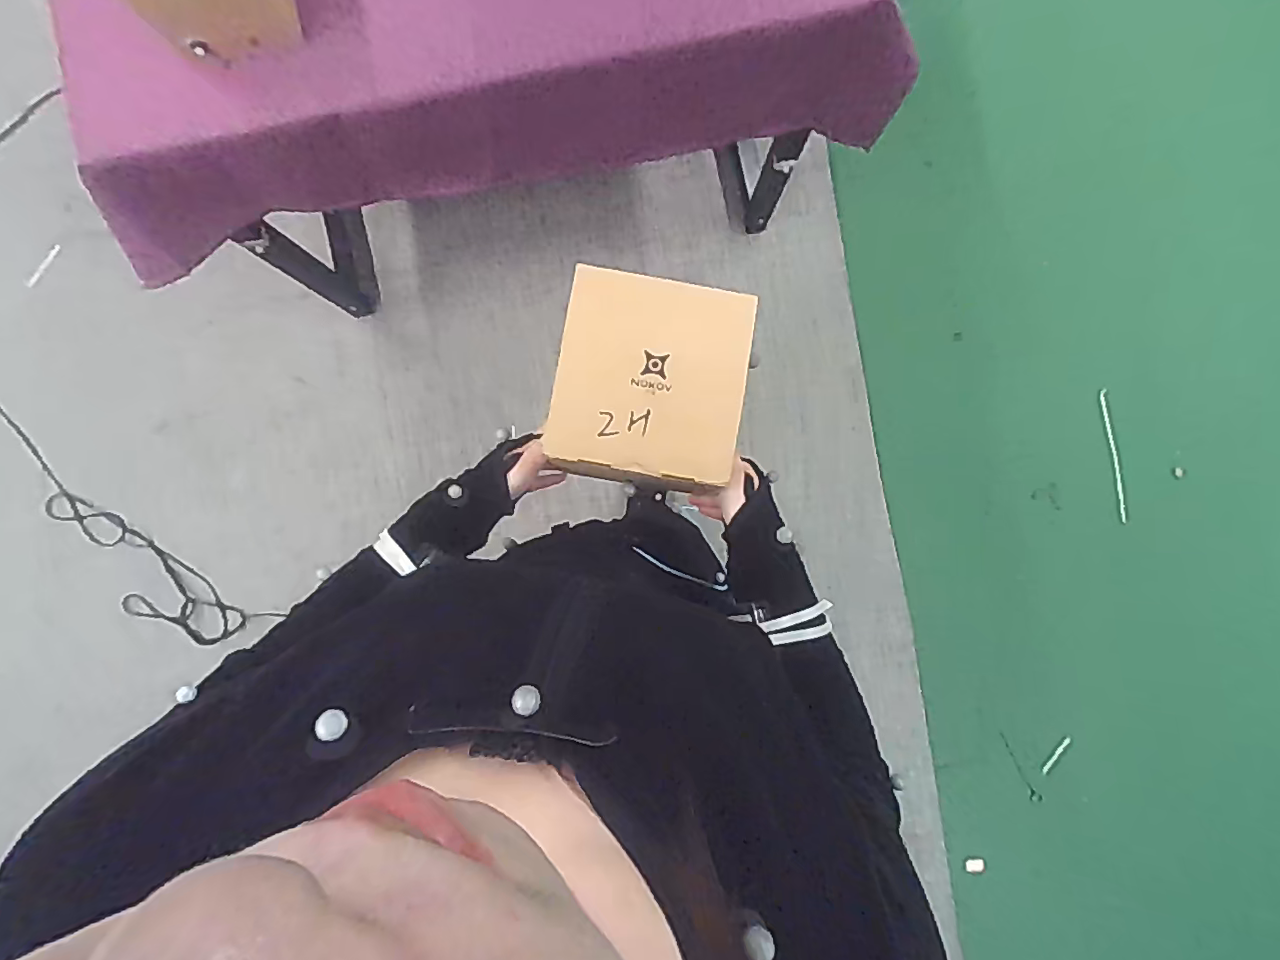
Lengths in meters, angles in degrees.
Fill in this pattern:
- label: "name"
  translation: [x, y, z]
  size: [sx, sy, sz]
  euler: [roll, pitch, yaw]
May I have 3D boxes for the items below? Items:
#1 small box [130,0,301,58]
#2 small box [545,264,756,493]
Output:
- label: "small box"
  translation: [-0.581, -0.698, 0.706]
  size: [0.168, 0.176, 0.179]
  euler: [-13, 87, -1]
- label: "small box"
  translation: [0.008, -0.088, 0.553]
  size: [0.168, 0.176, 0.179]
  euler: [10, 86, -1]
